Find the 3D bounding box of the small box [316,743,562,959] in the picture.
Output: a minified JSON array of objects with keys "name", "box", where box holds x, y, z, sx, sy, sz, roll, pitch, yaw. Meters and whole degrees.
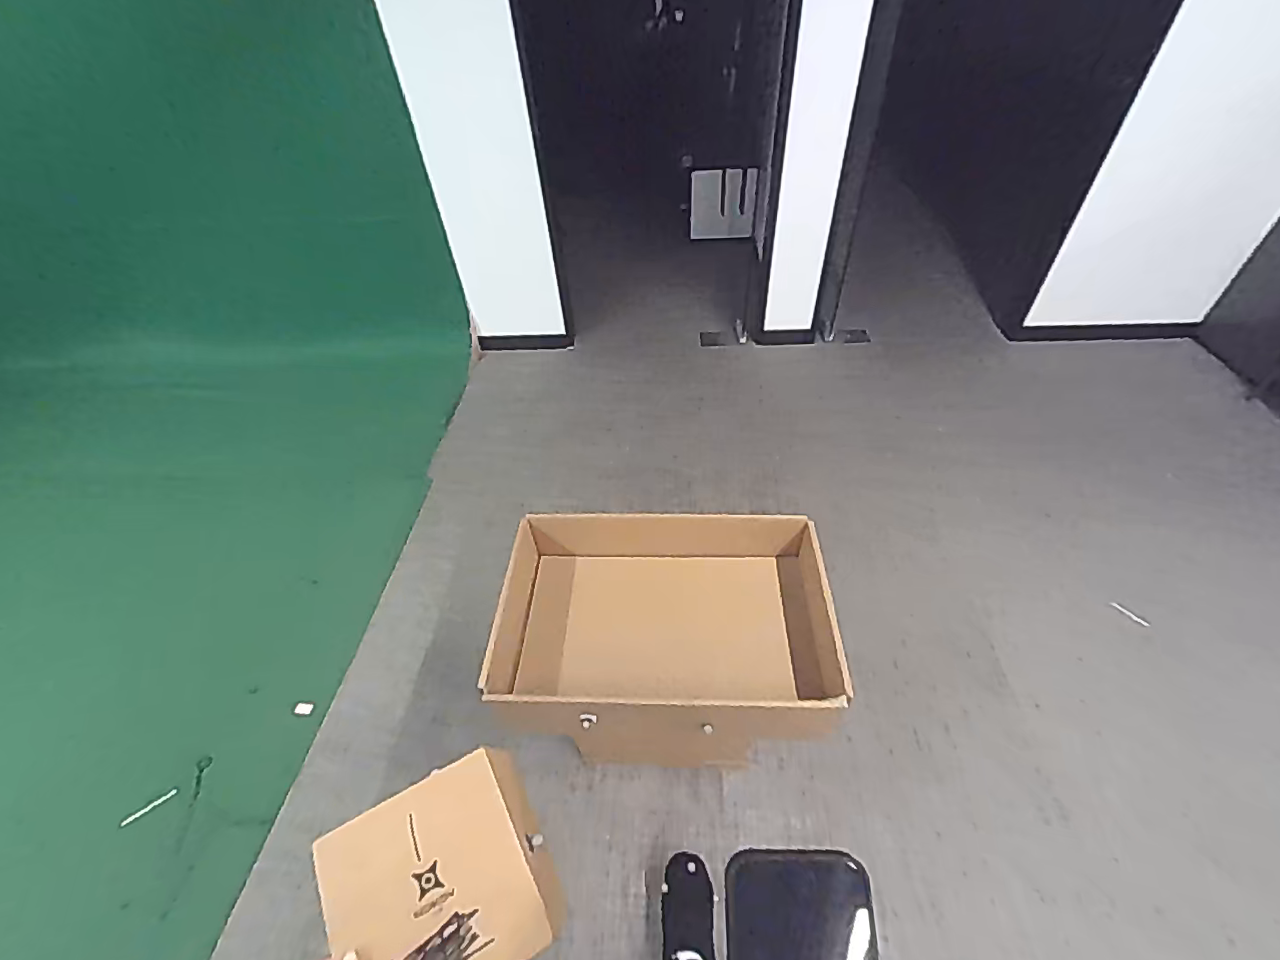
[{"name":"small box","box":[-0.190,0.396,0.552,0.168,0.176,0.179,-25,65,-16]}]
